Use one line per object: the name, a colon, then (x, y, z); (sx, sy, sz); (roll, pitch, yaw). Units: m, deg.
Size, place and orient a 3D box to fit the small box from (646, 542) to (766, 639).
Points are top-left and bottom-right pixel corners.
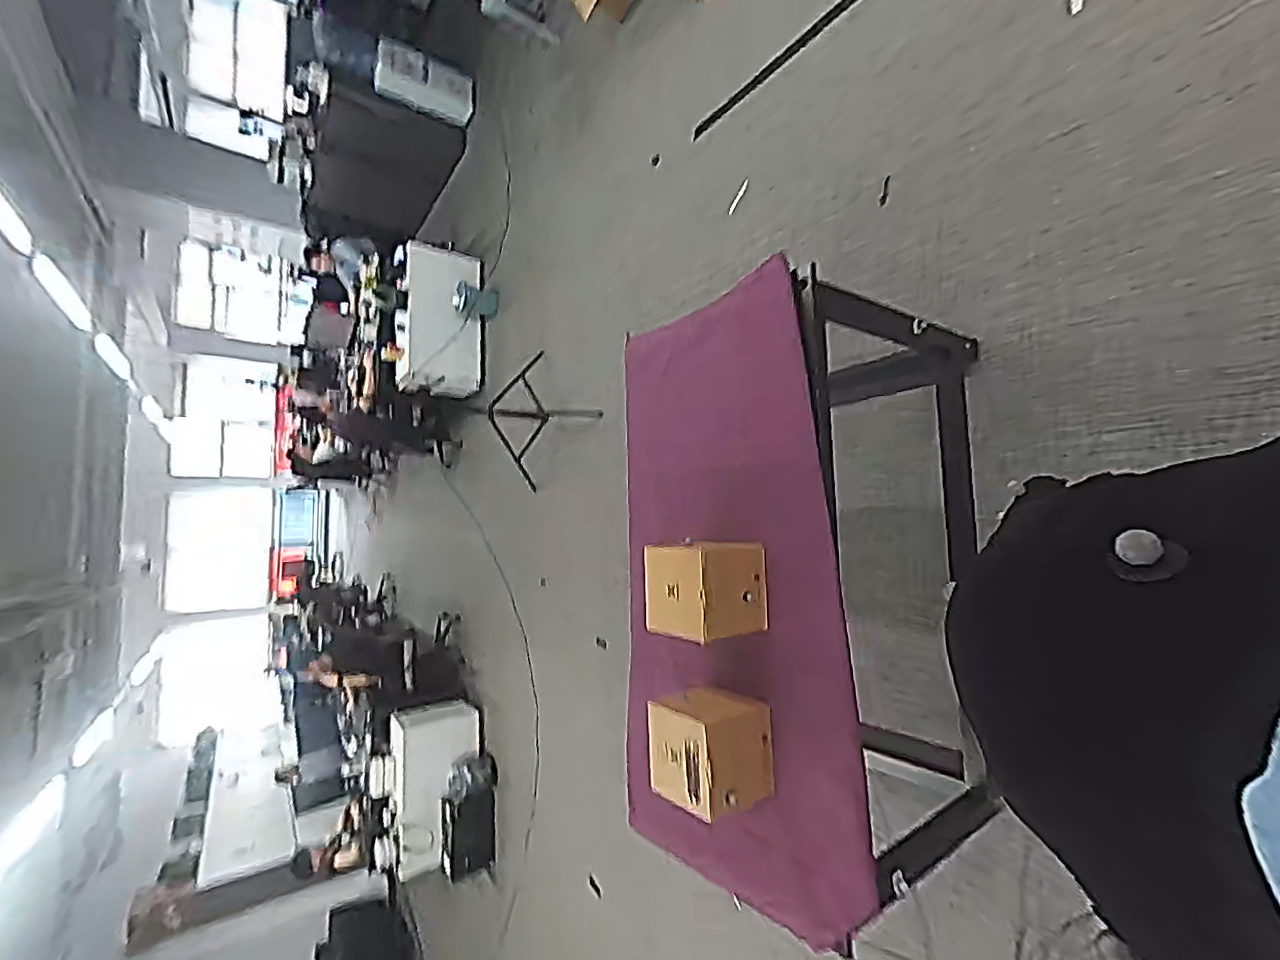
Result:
small box: (0.130, 0.211, 1.078); (0.179, 0.176, 0.168); (-9, 82, 53)
